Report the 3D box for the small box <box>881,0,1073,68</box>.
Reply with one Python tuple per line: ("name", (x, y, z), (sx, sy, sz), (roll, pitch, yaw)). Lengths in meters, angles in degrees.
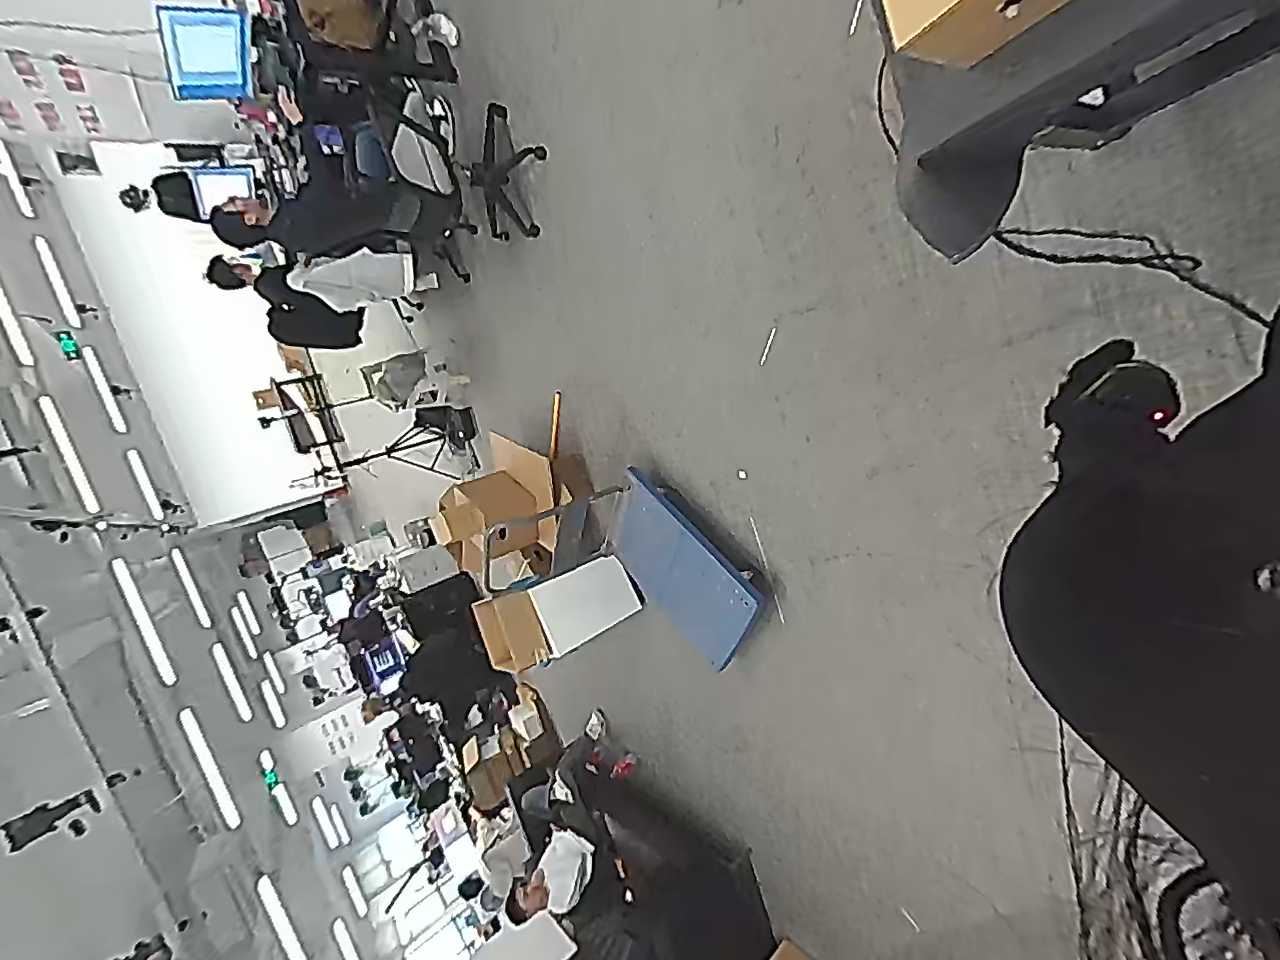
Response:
("small box", (0.344, -0.539, 0.515), (0.179, 0.176, 0.168), (-10, 100, 55))
